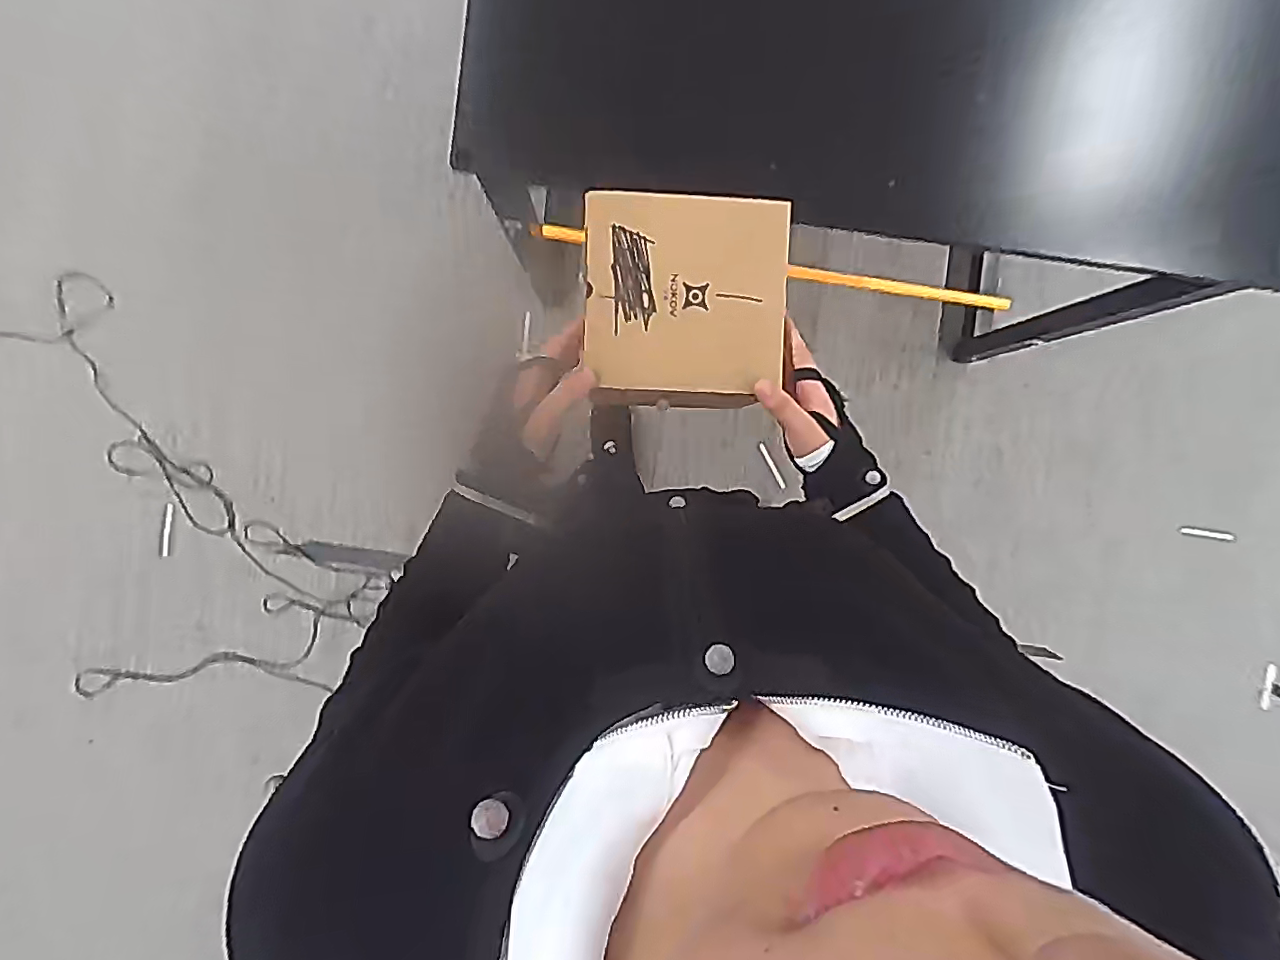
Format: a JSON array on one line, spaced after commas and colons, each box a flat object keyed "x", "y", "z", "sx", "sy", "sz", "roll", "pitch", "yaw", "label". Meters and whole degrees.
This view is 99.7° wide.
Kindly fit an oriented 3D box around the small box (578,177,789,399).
[{"x": 0.034, "y": -0.173, "z": 0.540, "sx": 0.179, "sy": 0.176, "sz": 0.168, "roll": 2, "pitch": 93, "yaw": -3, "label": "small box"}]
